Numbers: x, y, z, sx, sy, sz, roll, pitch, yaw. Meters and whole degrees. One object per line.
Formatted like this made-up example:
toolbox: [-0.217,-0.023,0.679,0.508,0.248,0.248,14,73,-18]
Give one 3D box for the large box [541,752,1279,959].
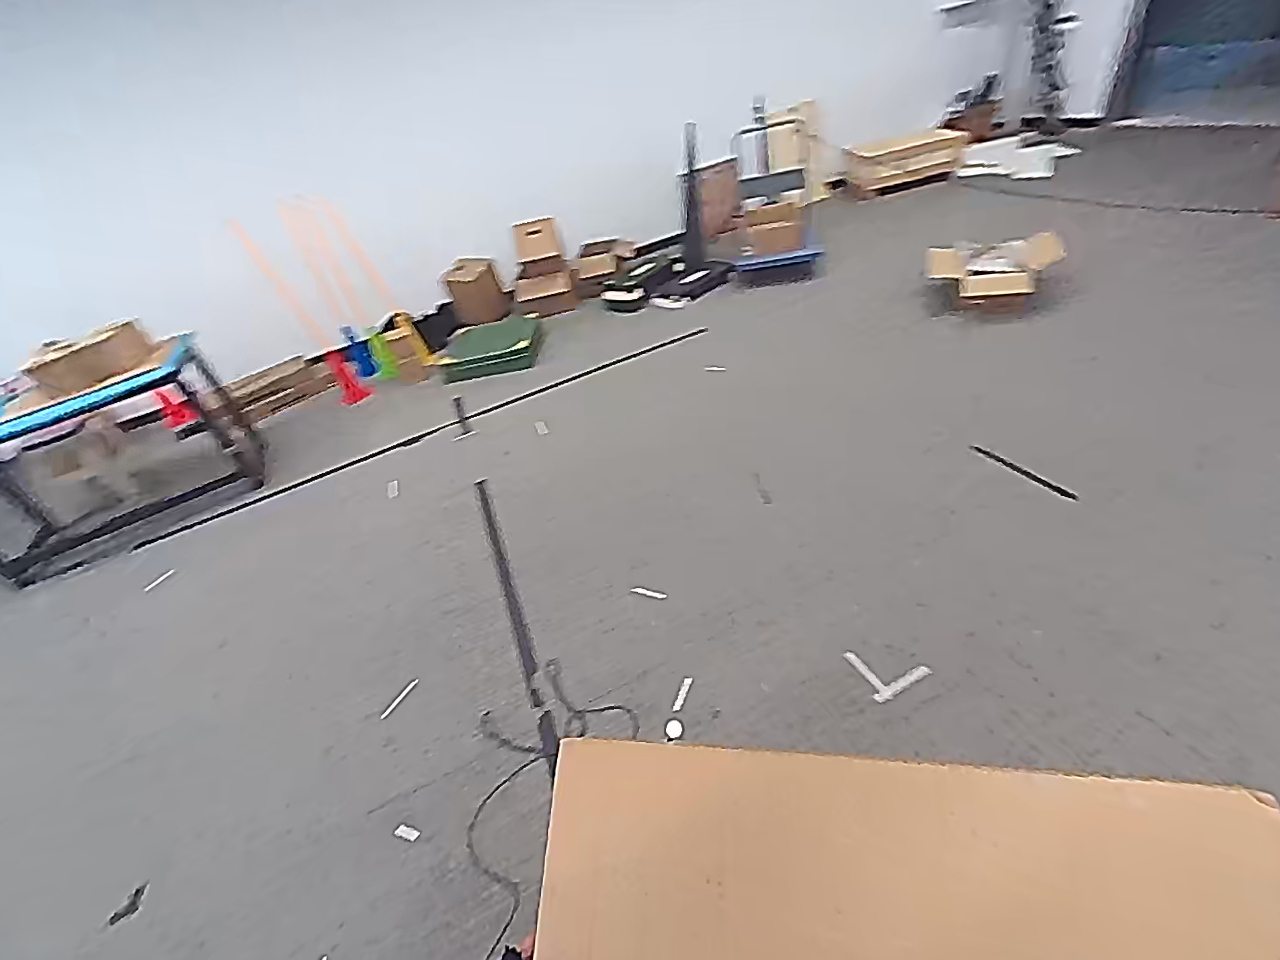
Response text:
large box: [0.162,0.387,0.407,0.408,0.320,0.320,-4,64,14]
